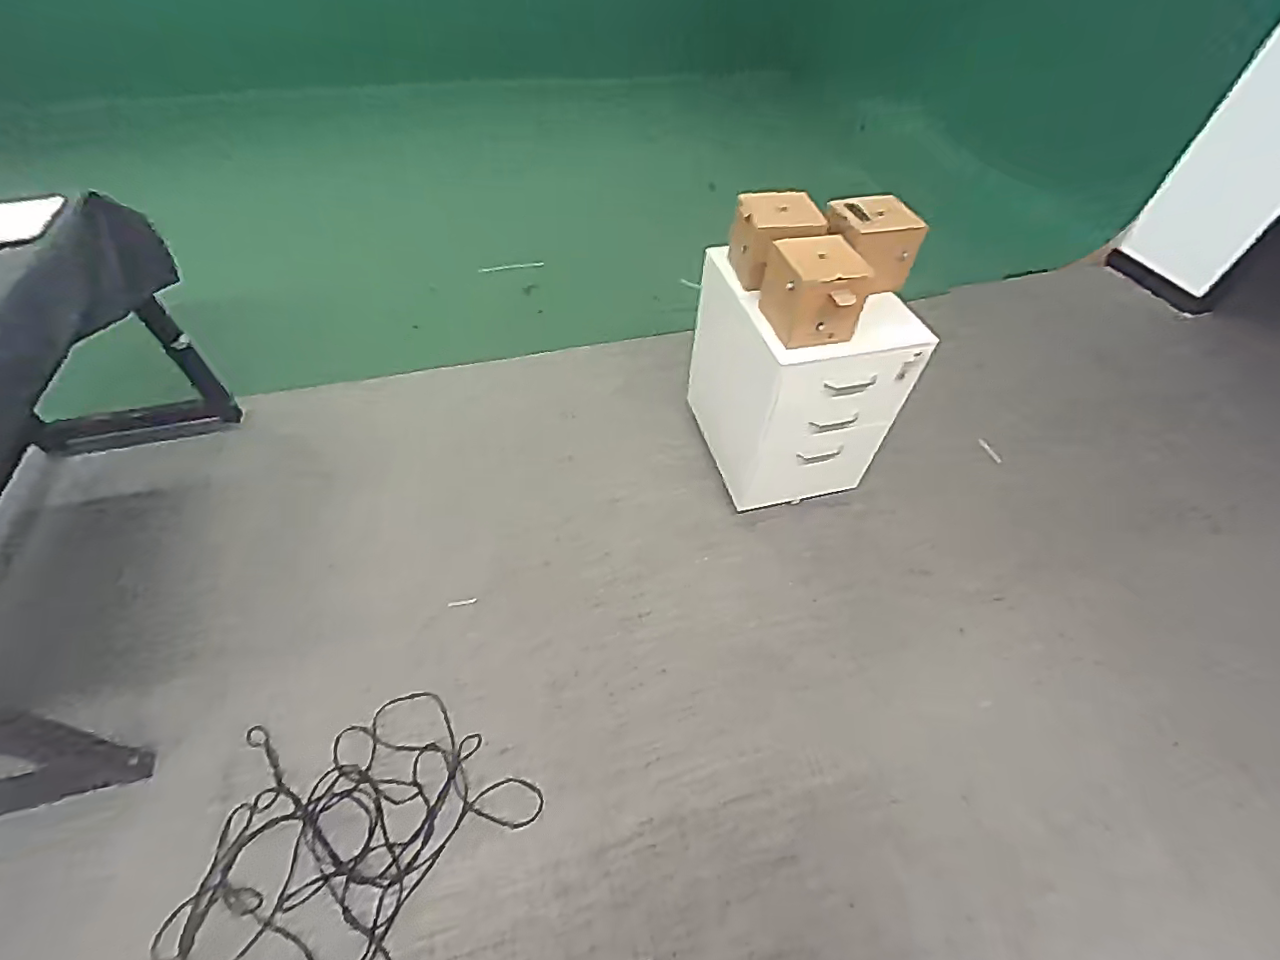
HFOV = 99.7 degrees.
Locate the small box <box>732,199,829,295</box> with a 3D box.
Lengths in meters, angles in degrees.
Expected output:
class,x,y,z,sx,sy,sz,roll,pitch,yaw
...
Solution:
class,x,y,z,sx,sy,sz,roll,pitch,yaw
small box,0.339,-0.579,1.353,0.179,0.176,0.168,-6,53,-9
